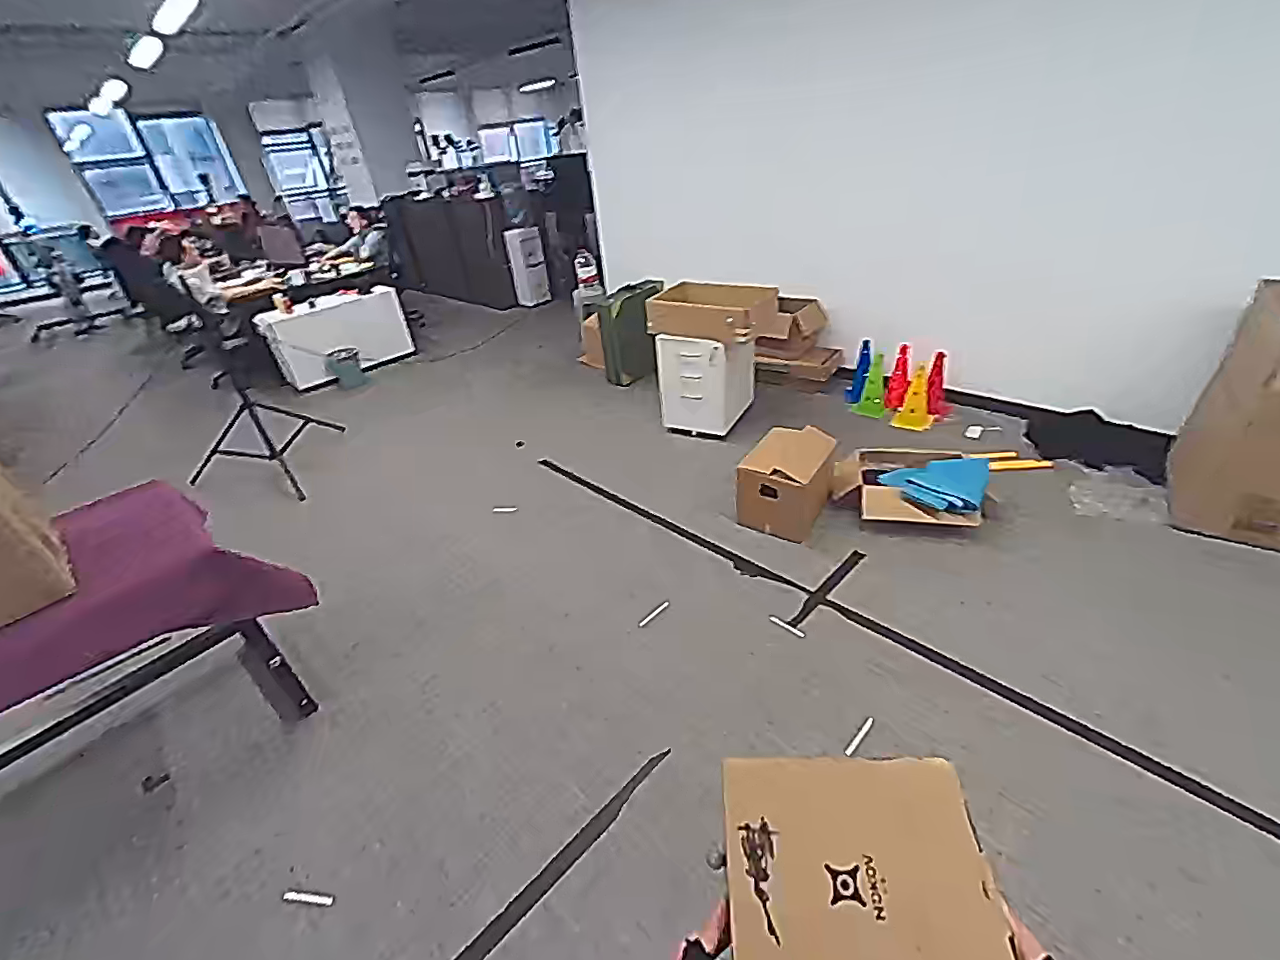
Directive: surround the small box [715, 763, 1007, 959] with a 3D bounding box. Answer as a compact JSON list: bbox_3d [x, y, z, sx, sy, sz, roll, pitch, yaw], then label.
[{"bbox_3d":[0.150,0.336,0.420,0.179,0.176,0.168,-4,43,6],"label":"small box"}]
